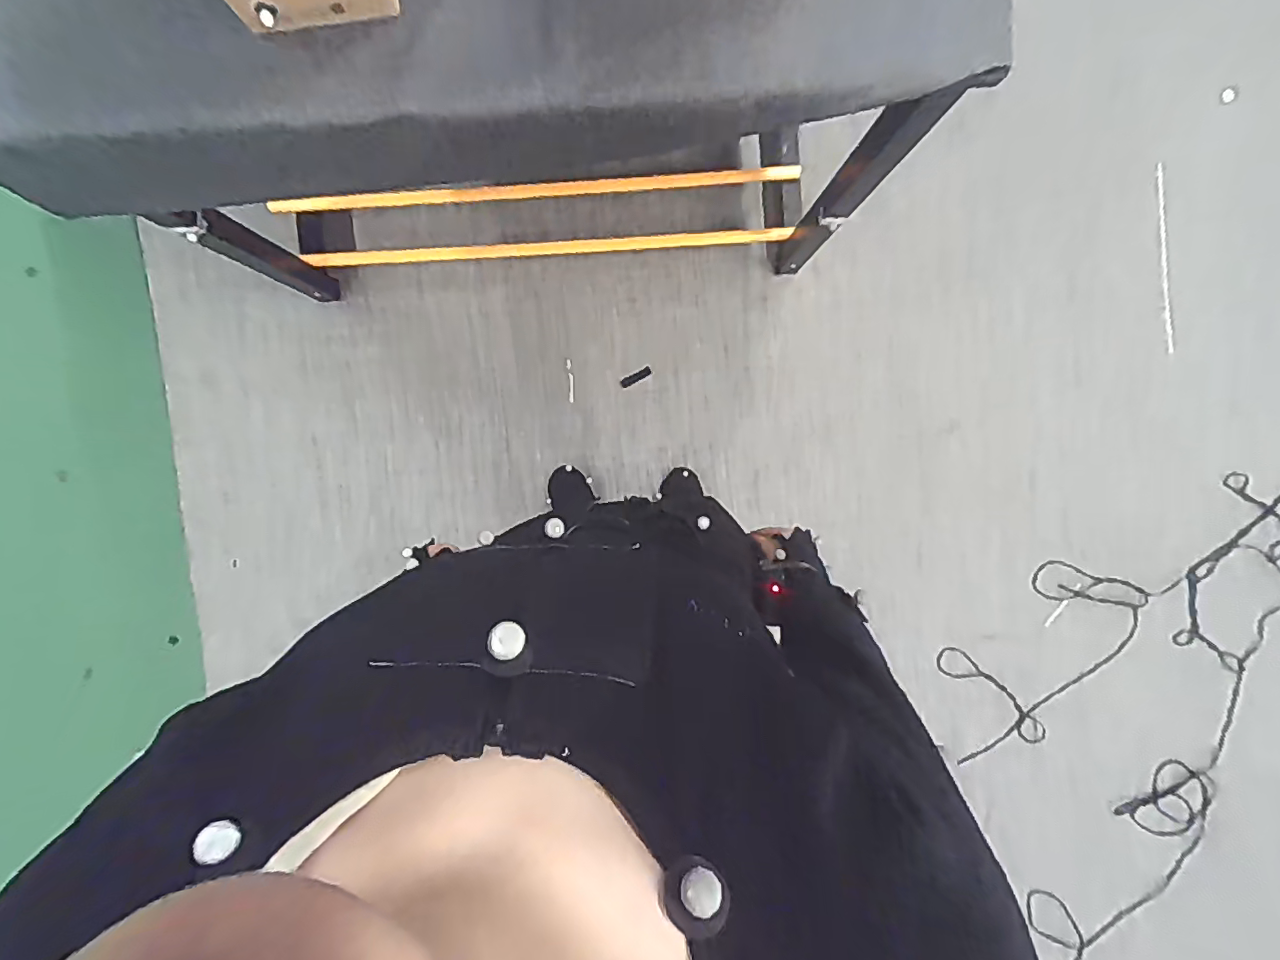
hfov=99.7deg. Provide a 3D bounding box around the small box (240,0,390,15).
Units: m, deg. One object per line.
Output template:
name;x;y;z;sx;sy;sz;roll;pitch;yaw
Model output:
small box;-0.355;-0.587;0.508;0.168;0.176;0.179;-8;93;-1
